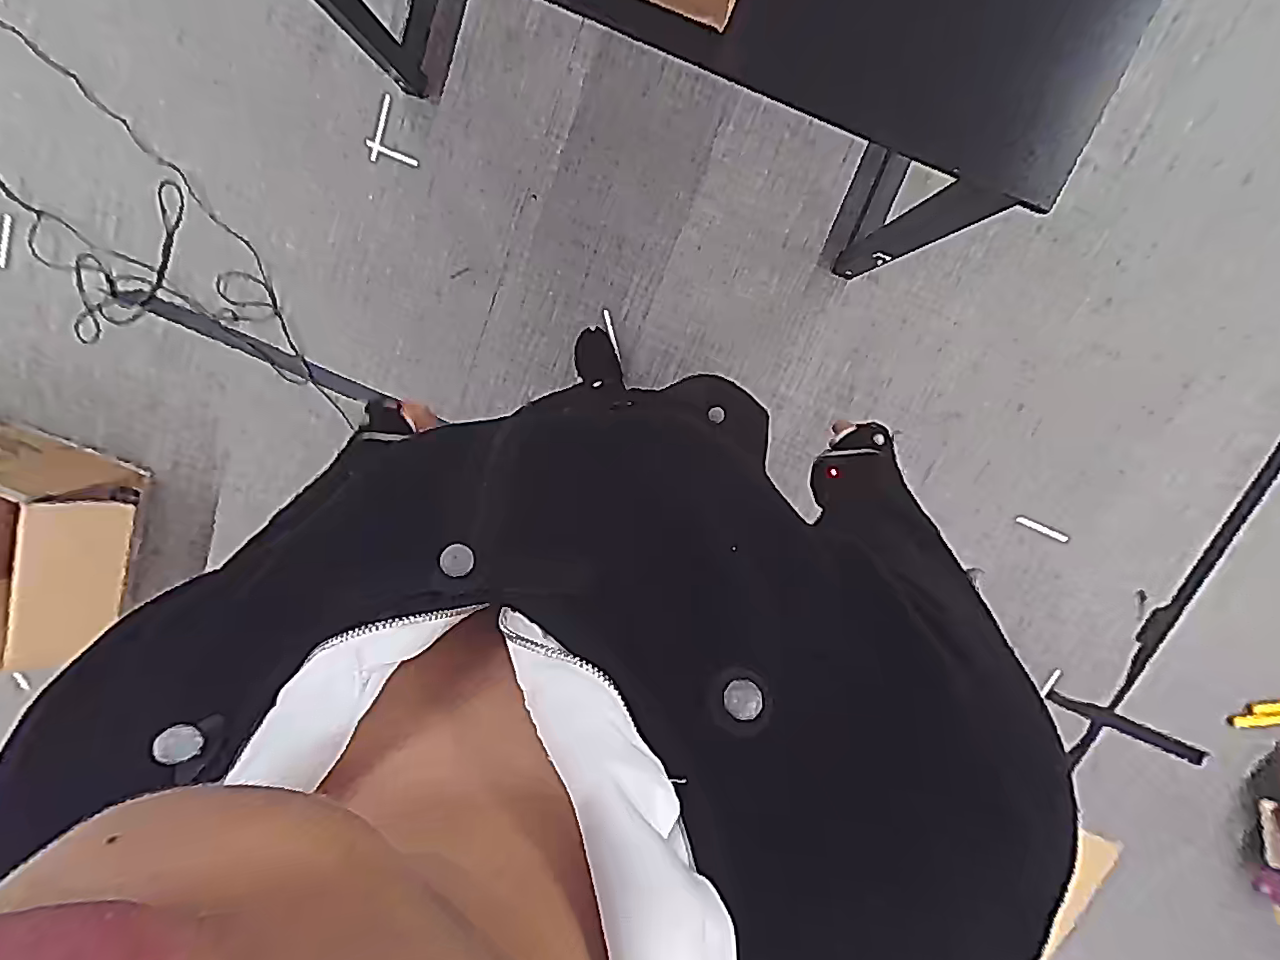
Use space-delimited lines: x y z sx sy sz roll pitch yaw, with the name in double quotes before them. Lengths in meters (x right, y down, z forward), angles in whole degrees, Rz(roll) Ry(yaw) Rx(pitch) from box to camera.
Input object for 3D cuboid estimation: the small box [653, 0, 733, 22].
"small box" 0.039 -0.605 0.526 0.179 0.176 0.168 21 103 -3
